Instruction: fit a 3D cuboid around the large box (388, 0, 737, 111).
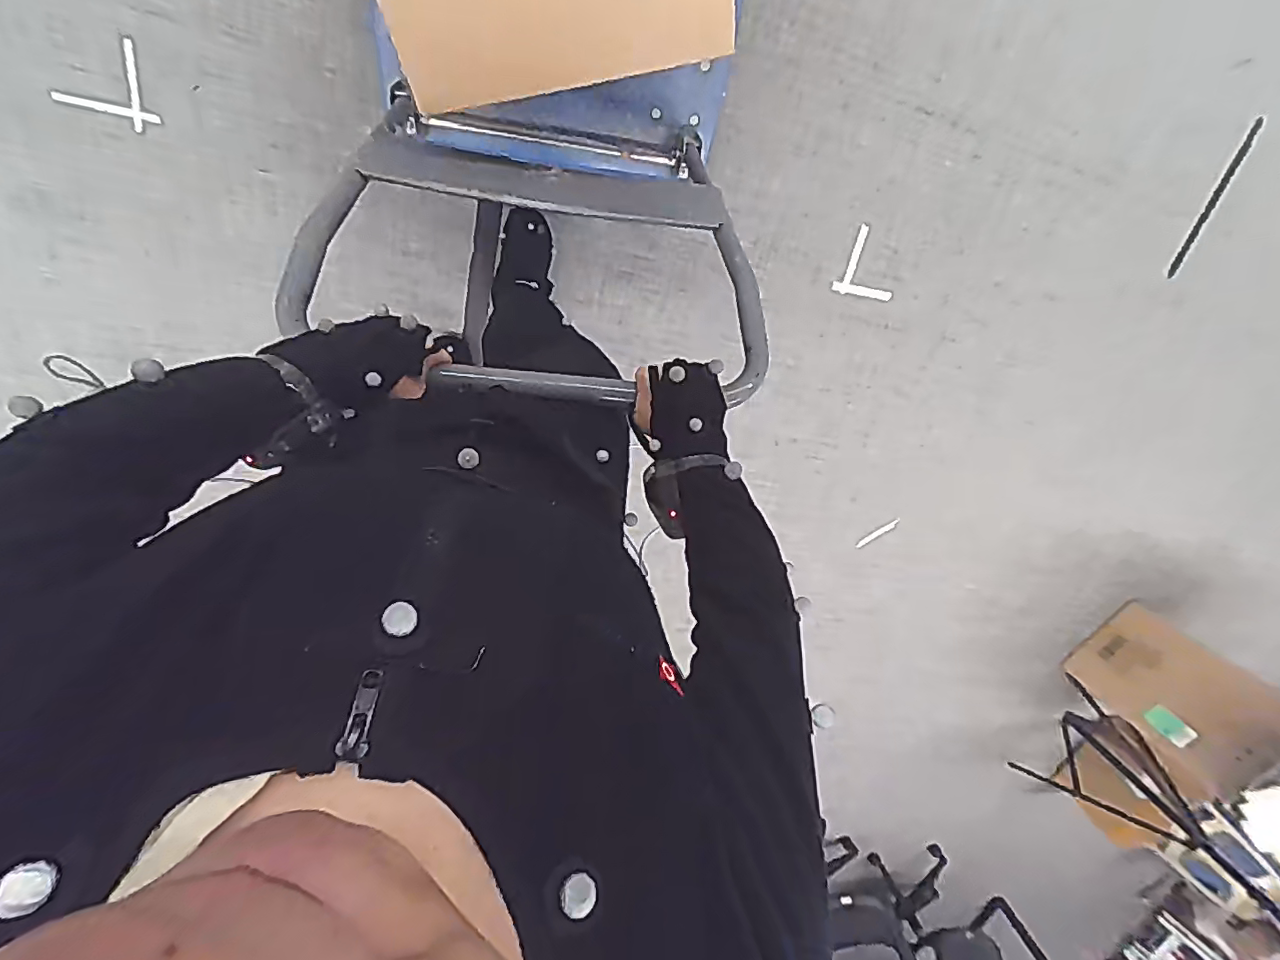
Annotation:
[{"bbox_3d":[-0.117,-0.713,0.672,0.408,0.320,0.320,-11,137,2],"label":"large box"}]
